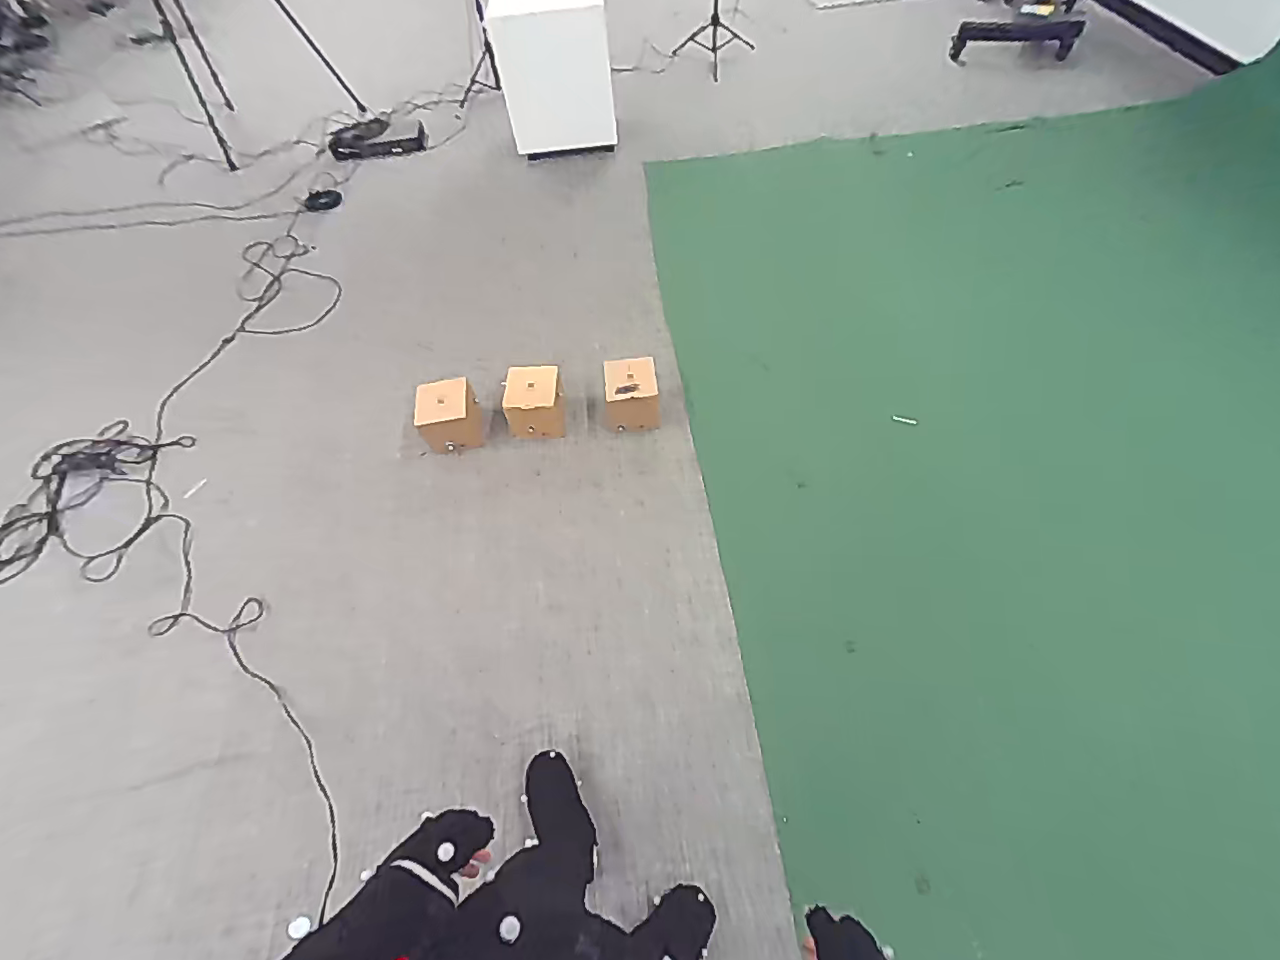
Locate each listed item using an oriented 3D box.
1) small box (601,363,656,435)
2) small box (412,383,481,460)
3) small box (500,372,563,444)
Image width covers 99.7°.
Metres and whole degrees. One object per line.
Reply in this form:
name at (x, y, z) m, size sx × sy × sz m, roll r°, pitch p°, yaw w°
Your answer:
small box at (-0.037, -0.262, 1.800) m, size 0.168 × 0.176 × 0.179 m, roll -6°, pitch 56°, yaw 0°
small box at (-0.636, -0.193, 1.793) m, size 0.168 × 0.176 × 0.179 m, roll -11°, pitch 59°, yaw -1°
small box at (-0.355, -0.238, 1.805) m, size 0.168 × 0.176 × 0.179 m, roll -2°, pitch 58°, yaw 2°
